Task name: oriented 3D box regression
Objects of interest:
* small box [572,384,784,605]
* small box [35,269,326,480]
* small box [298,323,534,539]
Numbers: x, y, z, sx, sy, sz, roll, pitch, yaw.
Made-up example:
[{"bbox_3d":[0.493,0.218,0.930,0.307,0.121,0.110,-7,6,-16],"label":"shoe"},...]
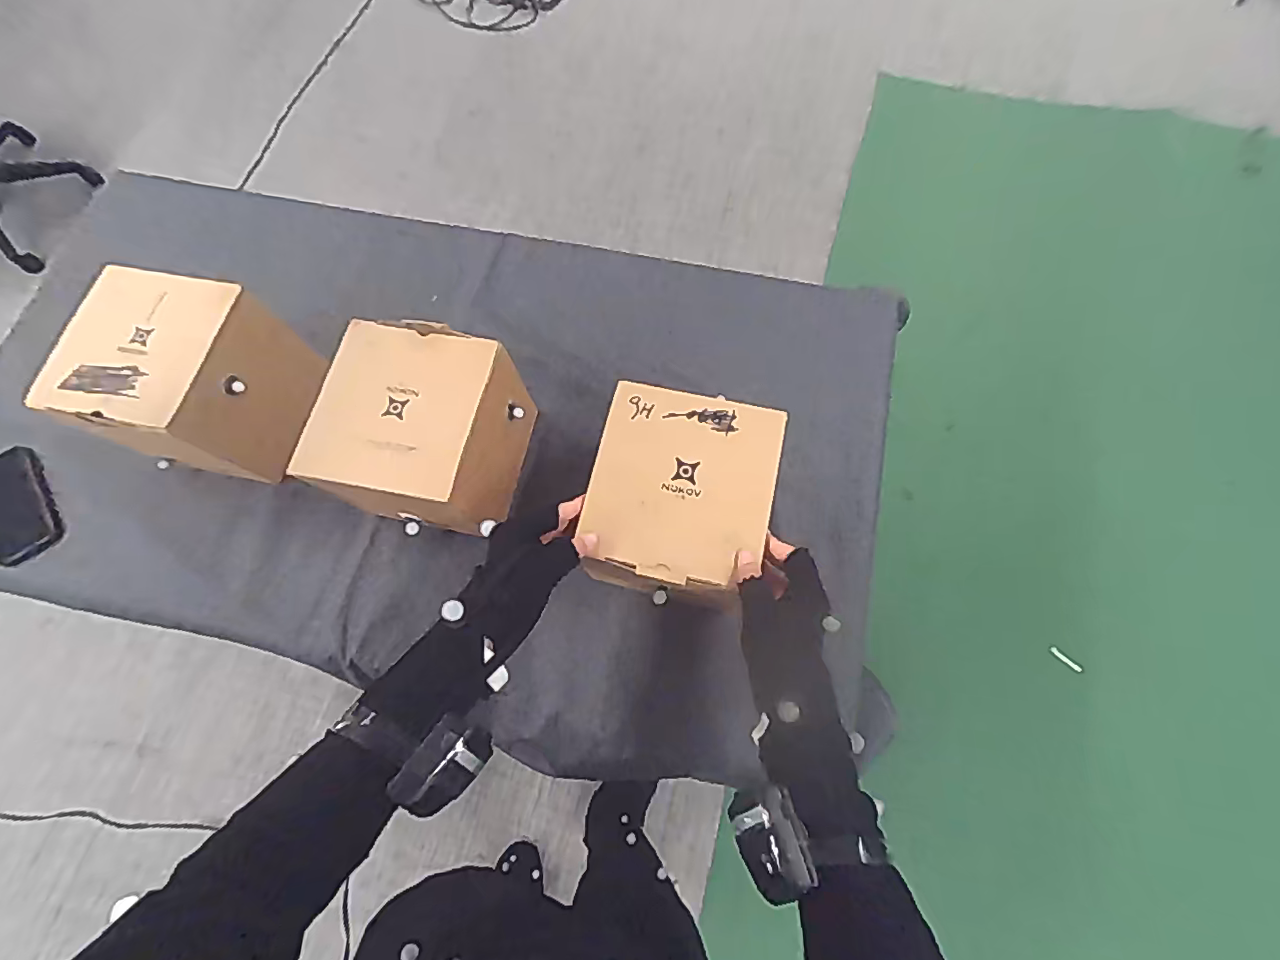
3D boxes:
[{"bbox_3d":[0.042,0.027,0.570,0.168,0.176,0.179,12,73,7],"label":"small box"},{"bbox_3d":[-0.515,-0.114,0.640,0.168,0.176,0.179,10,71,6],"label":"small box"},{"bbox_3d":[-0.229,-0.046,0.609,0.168,0.176,0.179,9,73,7],"label":"small box"}]
